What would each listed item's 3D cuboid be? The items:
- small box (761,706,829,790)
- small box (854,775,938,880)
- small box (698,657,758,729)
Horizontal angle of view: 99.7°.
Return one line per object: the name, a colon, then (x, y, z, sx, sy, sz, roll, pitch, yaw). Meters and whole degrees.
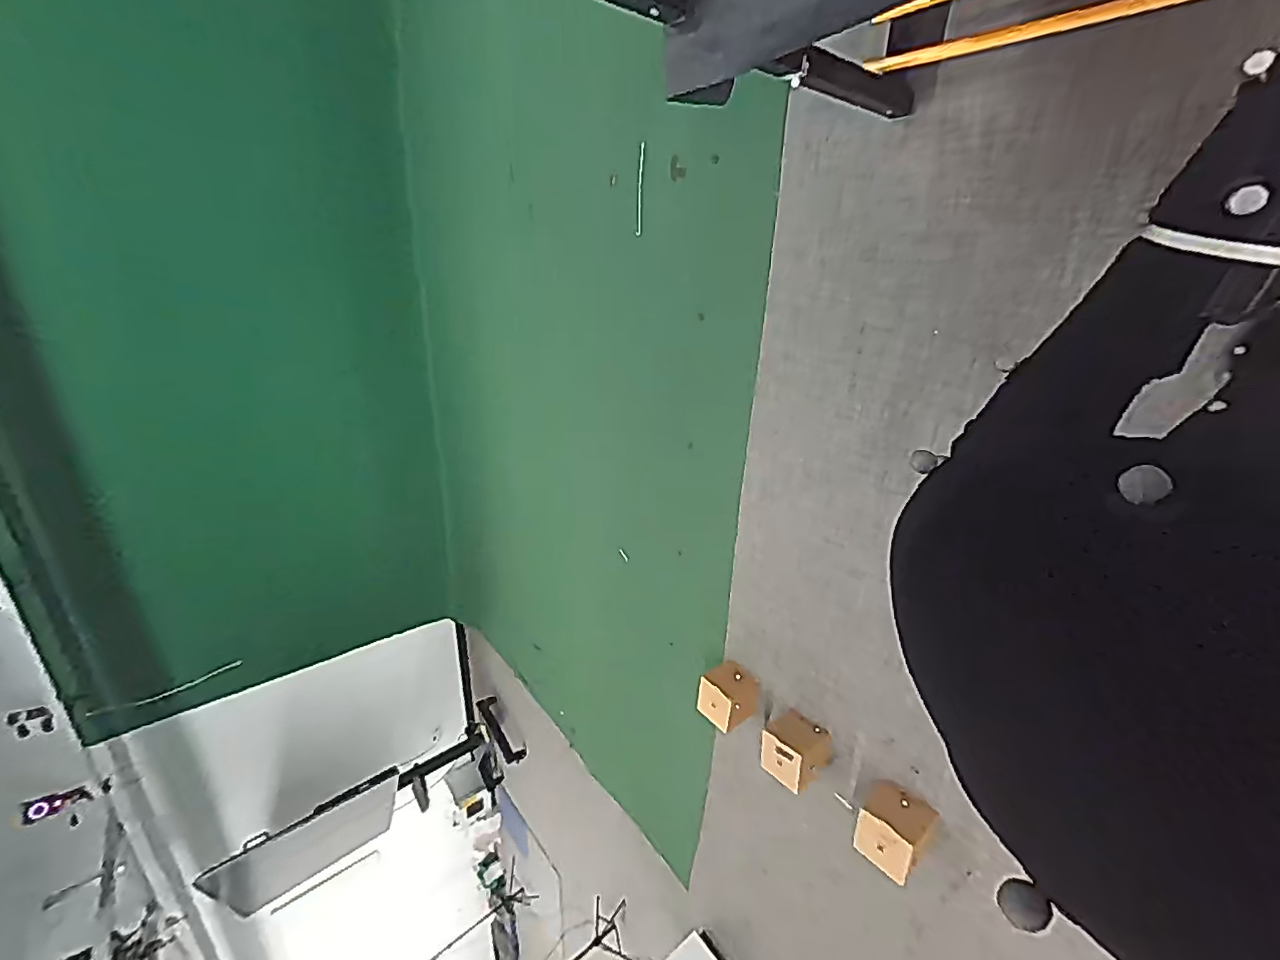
small box: (0.560, 0.954, 1.945, 0.168, 0.176, 0.179, 21, 119, 47)
small box: (0.796, 1.070, 1.678, 0.168, 0.176, 0.179, 23, 119, 45)
small box: (0.356, 0.852, 2.175, 0.168, 0.176, 0.179, 27, 122, 44)
